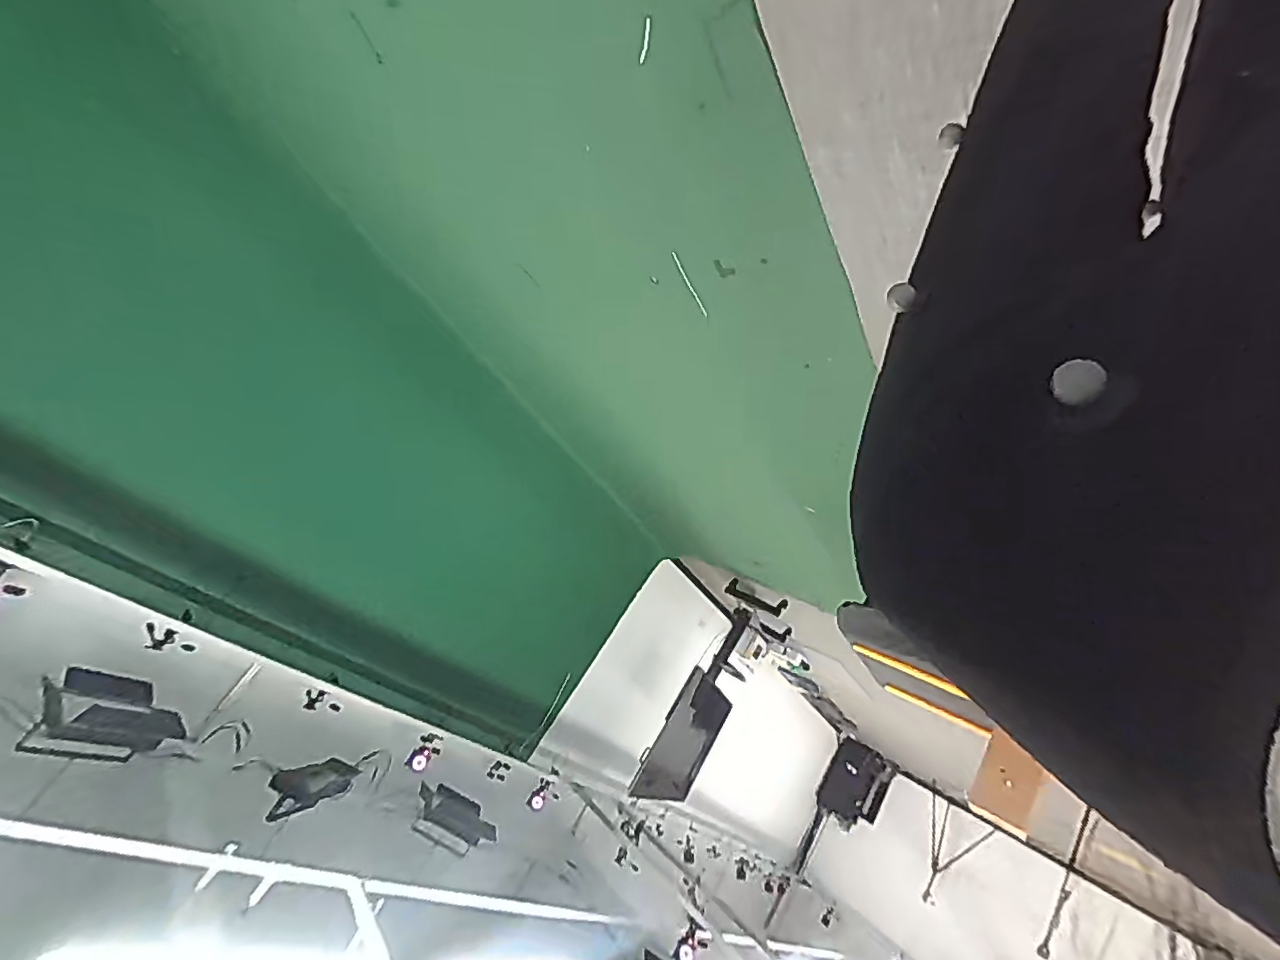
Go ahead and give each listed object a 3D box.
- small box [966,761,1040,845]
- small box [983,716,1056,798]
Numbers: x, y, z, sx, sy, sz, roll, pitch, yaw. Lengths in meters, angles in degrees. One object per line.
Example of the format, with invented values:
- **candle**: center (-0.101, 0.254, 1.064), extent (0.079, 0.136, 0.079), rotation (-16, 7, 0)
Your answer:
- **small box**: center (1.227, 1.085, 1.822), extent (0.168, 0.176, 0.179), rotation (16, 154, 44)
- **small box**: center (1.314, 0.953, 1.867), extent (0.168, 0.176, 0.179), rotation (14, 152, 47)
